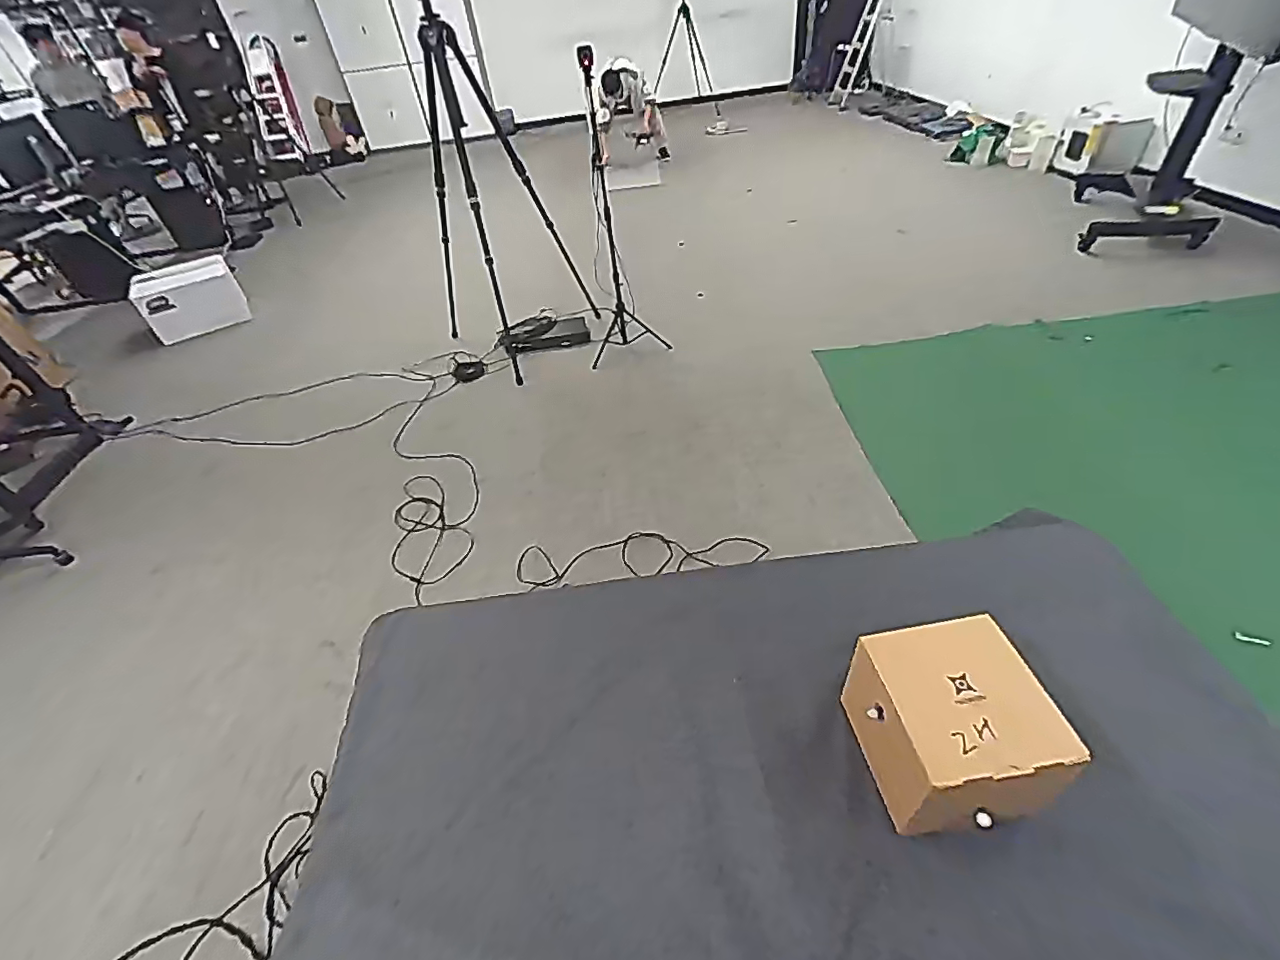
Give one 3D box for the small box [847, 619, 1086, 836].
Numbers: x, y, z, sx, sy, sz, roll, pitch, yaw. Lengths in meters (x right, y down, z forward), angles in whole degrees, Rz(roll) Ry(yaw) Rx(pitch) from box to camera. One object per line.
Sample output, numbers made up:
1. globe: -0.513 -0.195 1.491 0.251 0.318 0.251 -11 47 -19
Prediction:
1. small box: 0.370 0.301 0.659 0.168 0.176 0.179 -10 42 -1
